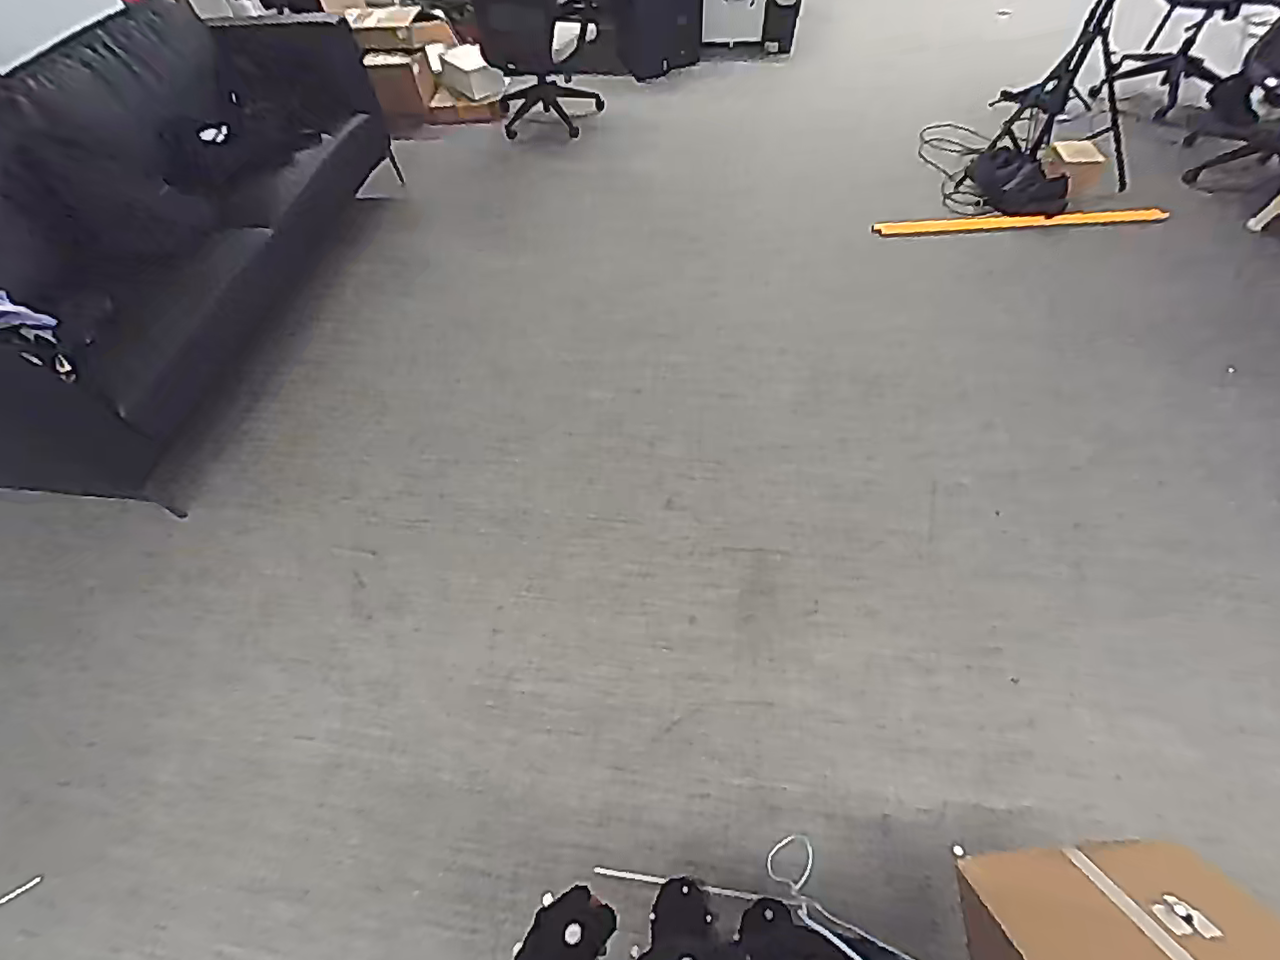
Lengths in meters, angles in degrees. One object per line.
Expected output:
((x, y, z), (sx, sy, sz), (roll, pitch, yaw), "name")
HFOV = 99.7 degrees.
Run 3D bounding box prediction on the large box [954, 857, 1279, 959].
((0.619, 0.709, 0.582), (0.320, 0.408, 0.320), (-8, 89, 4), "large box")
